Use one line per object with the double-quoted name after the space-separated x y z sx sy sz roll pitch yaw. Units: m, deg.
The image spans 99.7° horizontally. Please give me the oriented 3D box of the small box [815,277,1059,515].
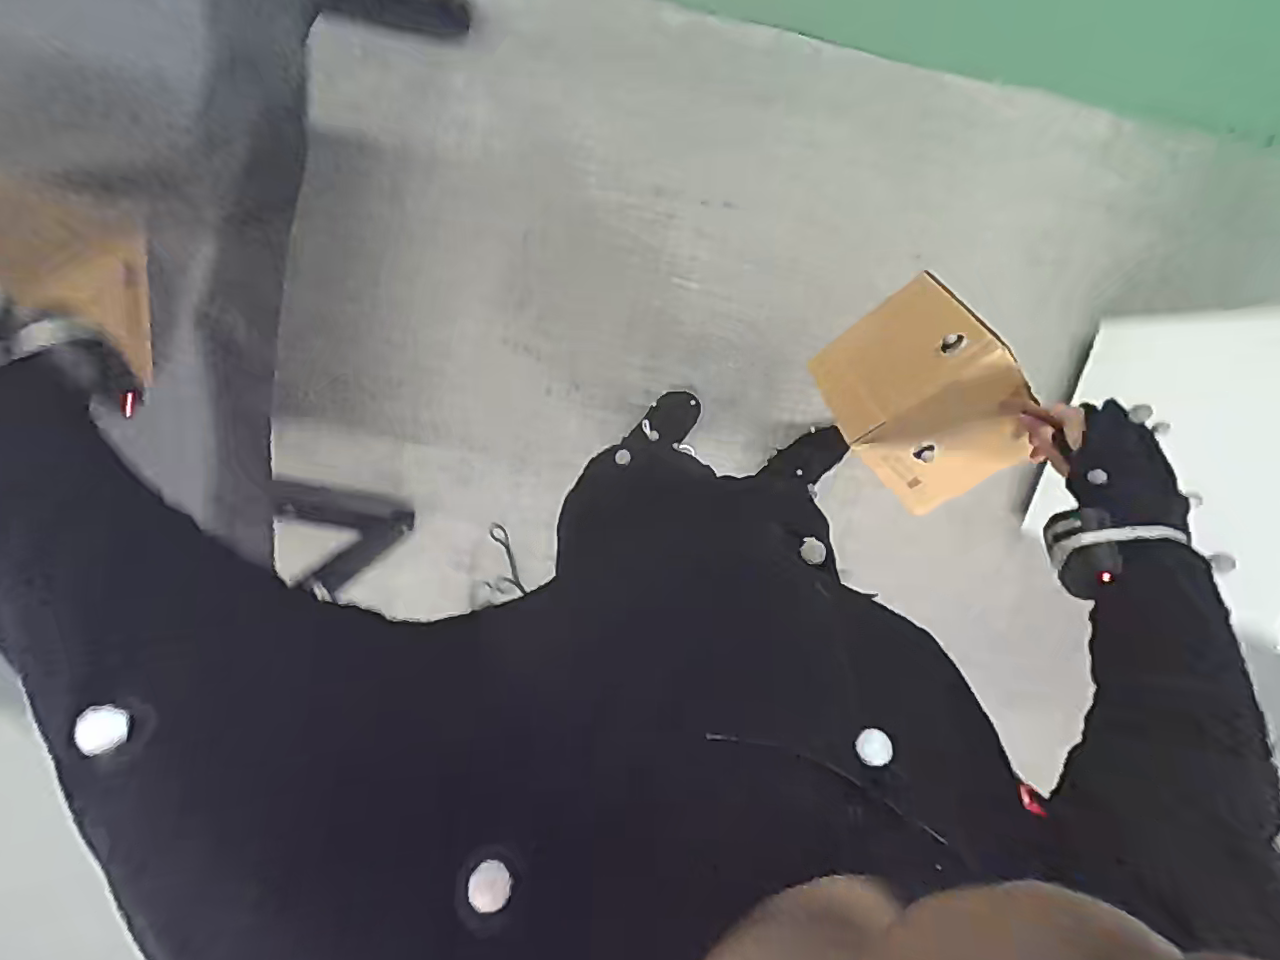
0.333 -0.093 0.637 0.176 0.179 0.168 -36 126 27 "small box"
